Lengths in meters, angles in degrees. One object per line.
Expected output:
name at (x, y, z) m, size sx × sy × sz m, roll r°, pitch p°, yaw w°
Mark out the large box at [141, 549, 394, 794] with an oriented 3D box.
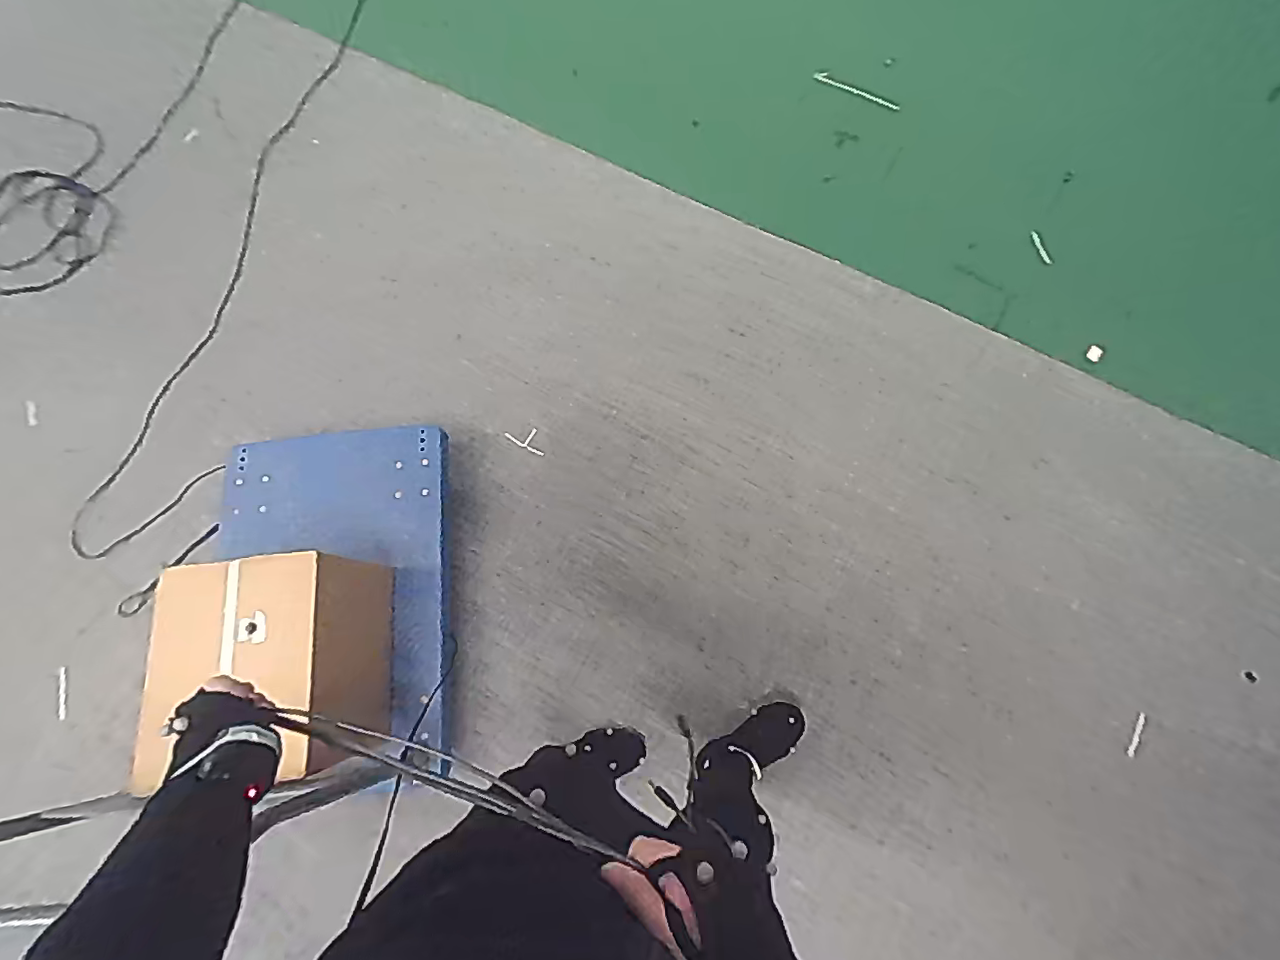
large box at (-0.738, 0.384, 1.137) m, size 0.320 × 0.320 × 0.408 m, roll -7°, pitch 73°, yaw 0°
